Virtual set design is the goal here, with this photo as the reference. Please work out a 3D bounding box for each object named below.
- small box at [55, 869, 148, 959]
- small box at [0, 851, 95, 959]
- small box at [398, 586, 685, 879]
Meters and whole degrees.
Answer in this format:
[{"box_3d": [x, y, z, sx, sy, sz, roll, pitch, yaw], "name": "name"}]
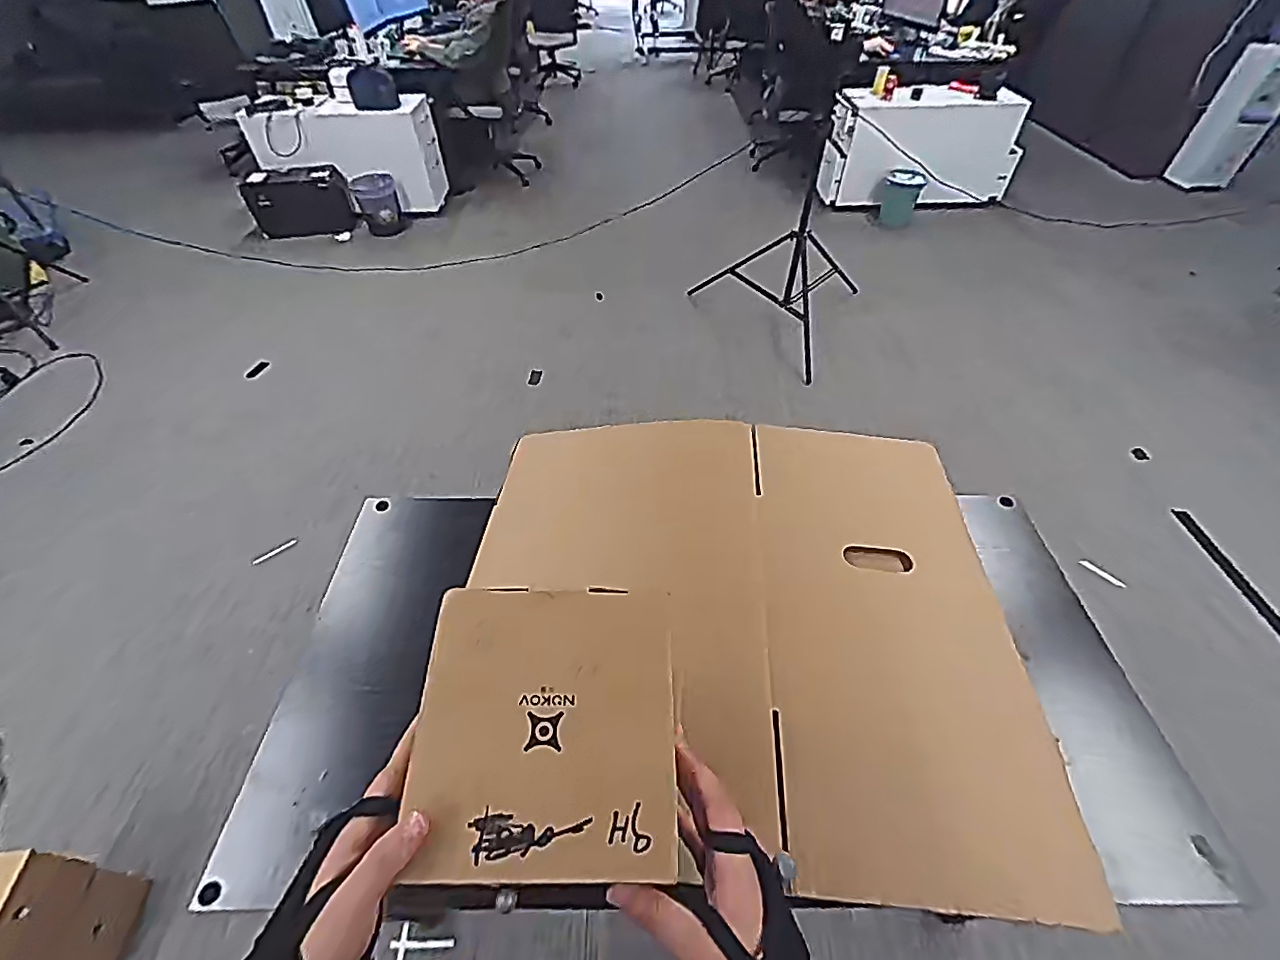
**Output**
[{"box_3d": [-1.166, 0.915, 1.097, 0.168, 0.176, 0.179, -4, 48, -3], "name": "small box"}, {"box_3d": [-1.169, 0.802, 0.981, 0.168, 0.176, 0.179, -5, 47, -5], "name": "small box"}, {"box_3d": [-0.056, 0.196, 0.417, 0.168, 0.176, 0.179, 0, 56, 0], "name": "small box"}]
